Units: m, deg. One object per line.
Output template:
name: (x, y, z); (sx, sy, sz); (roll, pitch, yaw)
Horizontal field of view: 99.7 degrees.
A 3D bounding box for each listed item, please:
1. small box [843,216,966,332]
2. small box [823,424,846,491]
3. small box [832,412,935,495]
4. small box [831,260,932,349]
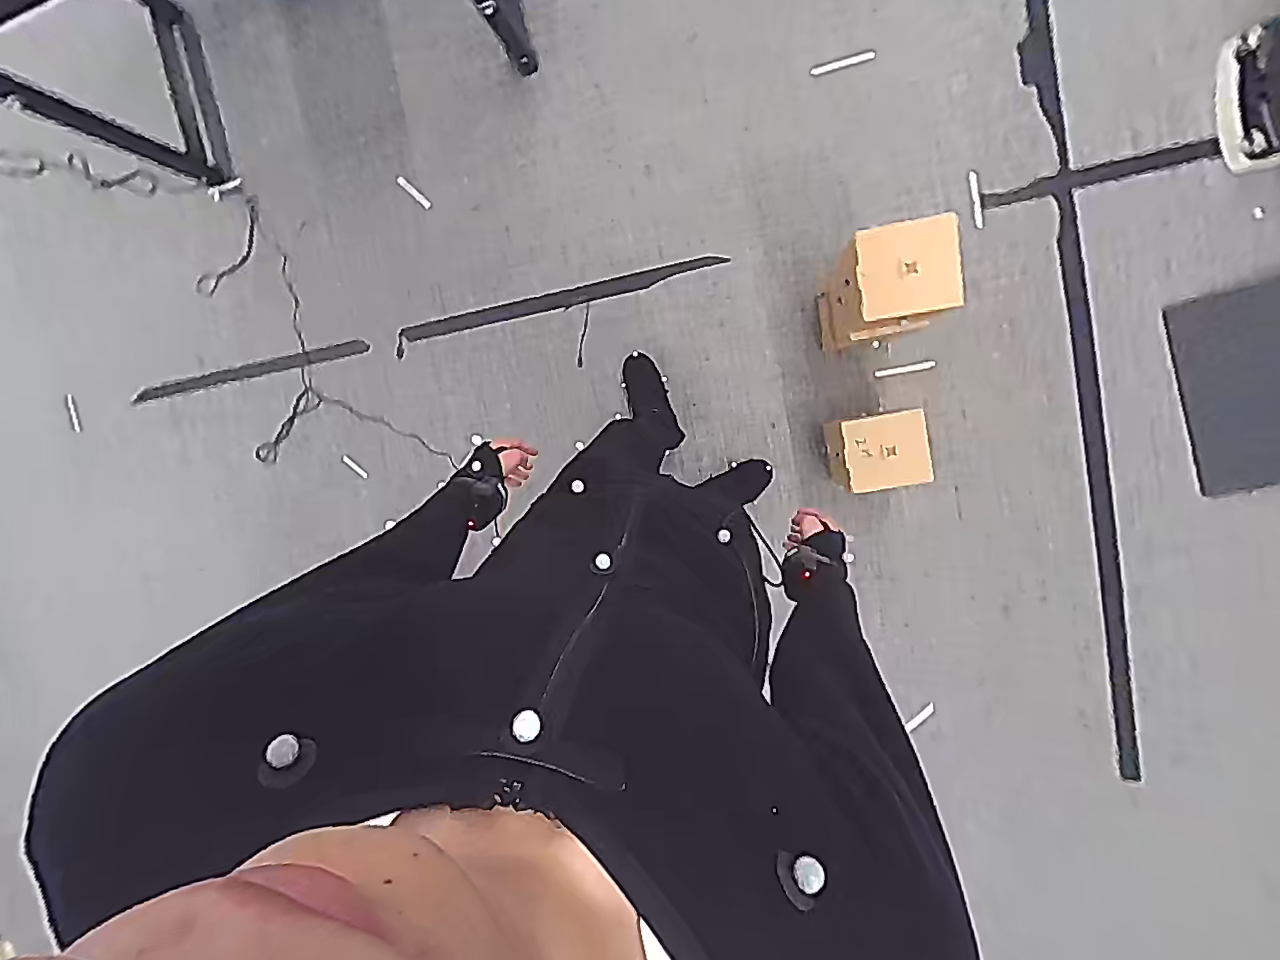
small box: (0.510, -0.393, 1.061); (0.179, 0.176, 0.168); (-7, 97, 13)
small box: (0.594, -0.076, 1.427); (0.179, 0.176, 0.168); (-11, 94, 14)
small box: (0.561, -0.067, 1.265); (0.179, 0.176, 0.168); (-9, 95, 13)
small box: (0.537, -0.404, 1.222); (0.168, 0.176, 0.179); (-9, 97, 12)
